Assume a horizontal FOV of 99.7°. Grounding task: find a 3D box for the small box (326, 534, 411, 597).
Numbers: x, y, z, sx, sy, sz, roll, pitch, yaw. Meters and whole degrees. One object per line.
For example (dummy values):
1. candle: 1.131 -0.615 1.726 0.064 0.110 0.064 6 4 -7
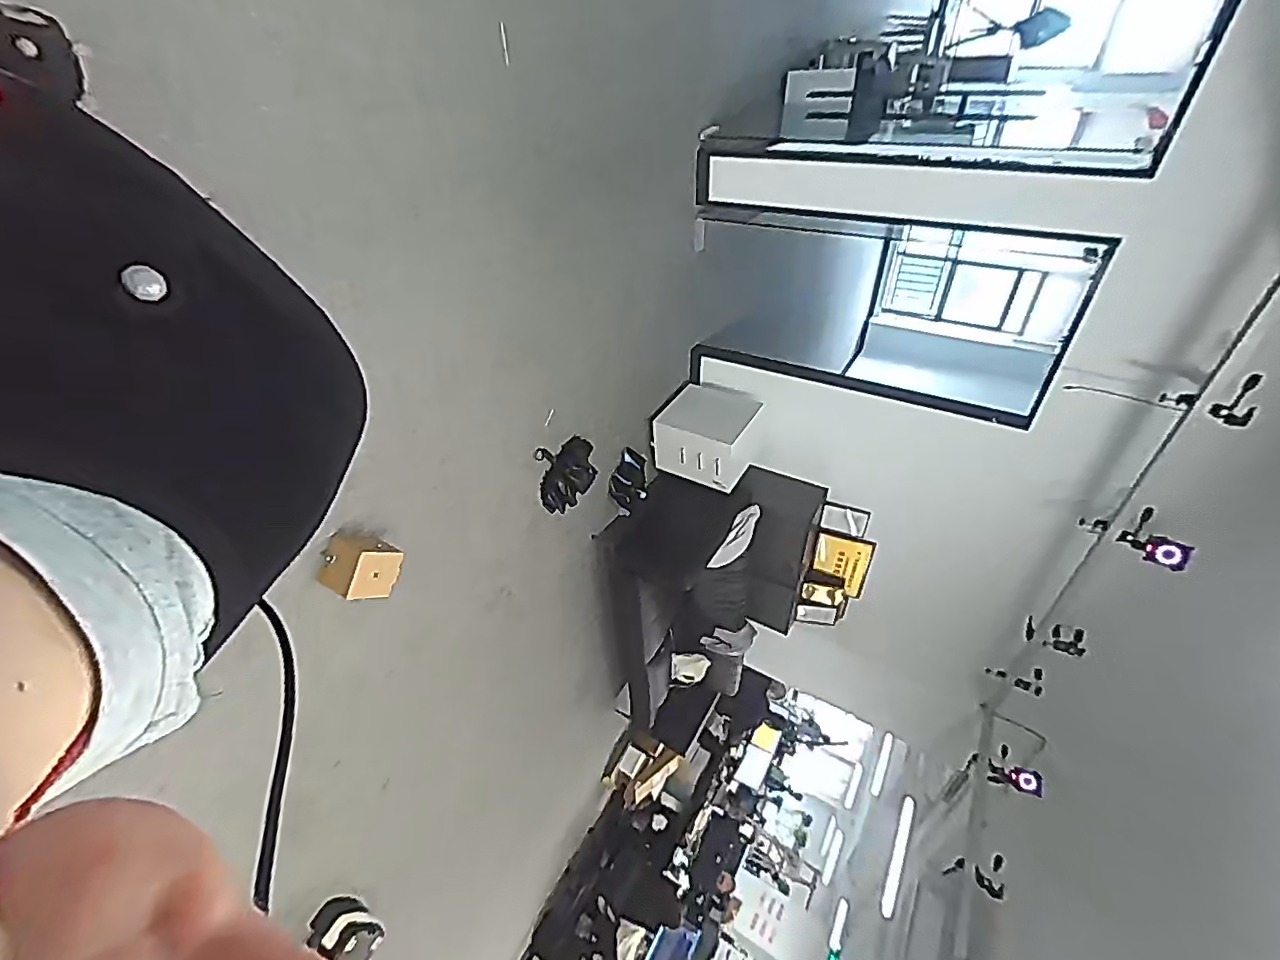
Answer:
1. small box: -0.931 0.288 1.855 0.179 0.176 0.168 16 92 -63
